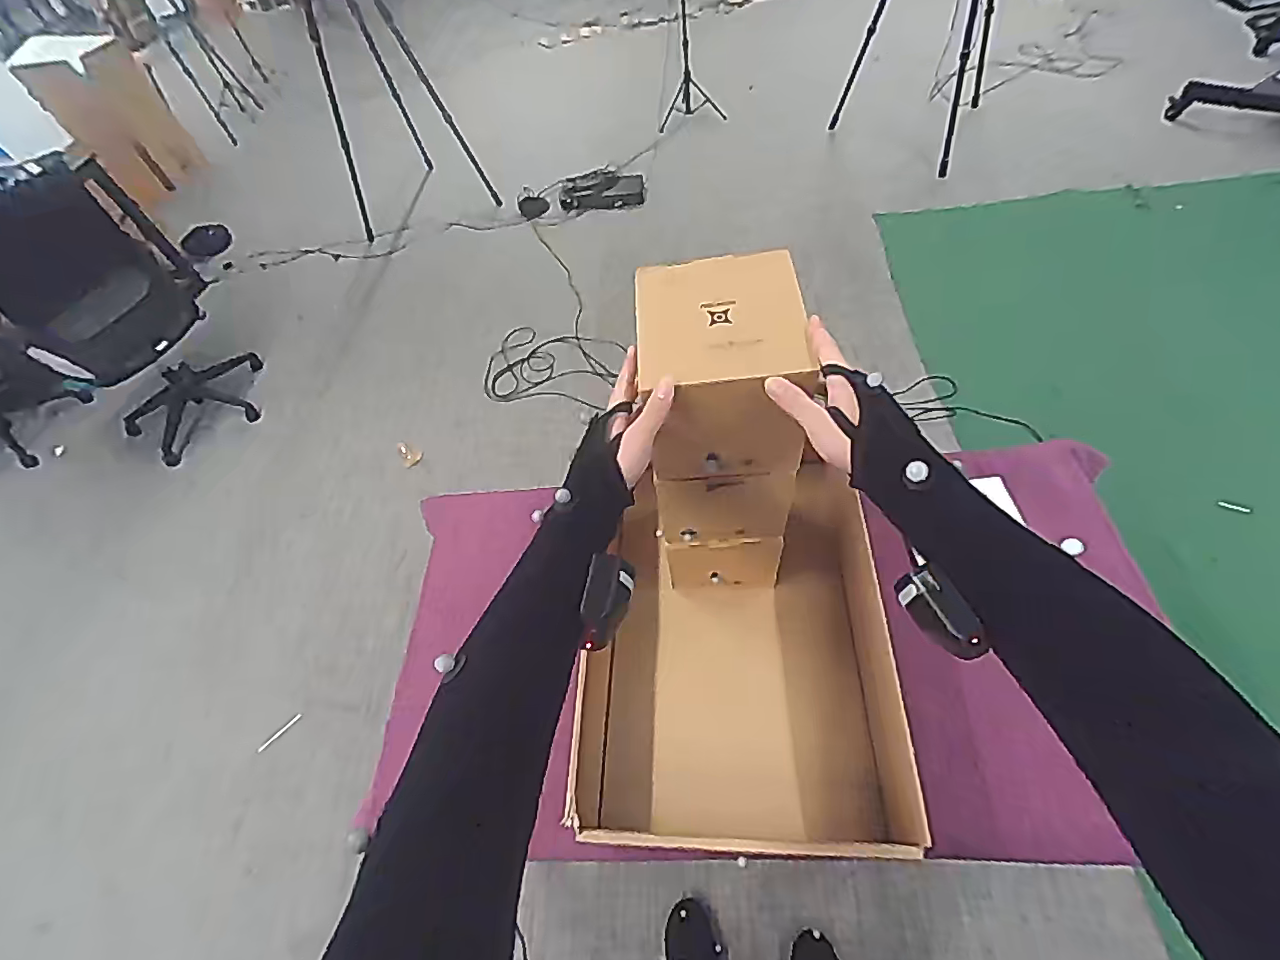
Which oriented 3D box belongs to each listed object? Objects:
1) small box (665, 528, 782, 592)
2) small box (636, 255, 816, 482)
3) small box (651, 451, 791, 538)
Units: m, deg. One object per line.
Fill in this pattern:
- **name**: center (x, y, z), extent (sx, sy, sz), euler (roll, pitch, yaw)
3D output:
- **small box**: center (0.127, 0.065, 0.870), extent (0.168, 0.176, 0.179), euler (-4, 57, 6)
- **small box**: center (0.086, -0.118, 0.602), extent (0.168, 0.176, 0.179), euler (-5, 58, 6)
- **small box**: center (0.105, -0.030, 0.738), extent (0.168, 0.176, 0.179), euler (-5, 56, 5)
